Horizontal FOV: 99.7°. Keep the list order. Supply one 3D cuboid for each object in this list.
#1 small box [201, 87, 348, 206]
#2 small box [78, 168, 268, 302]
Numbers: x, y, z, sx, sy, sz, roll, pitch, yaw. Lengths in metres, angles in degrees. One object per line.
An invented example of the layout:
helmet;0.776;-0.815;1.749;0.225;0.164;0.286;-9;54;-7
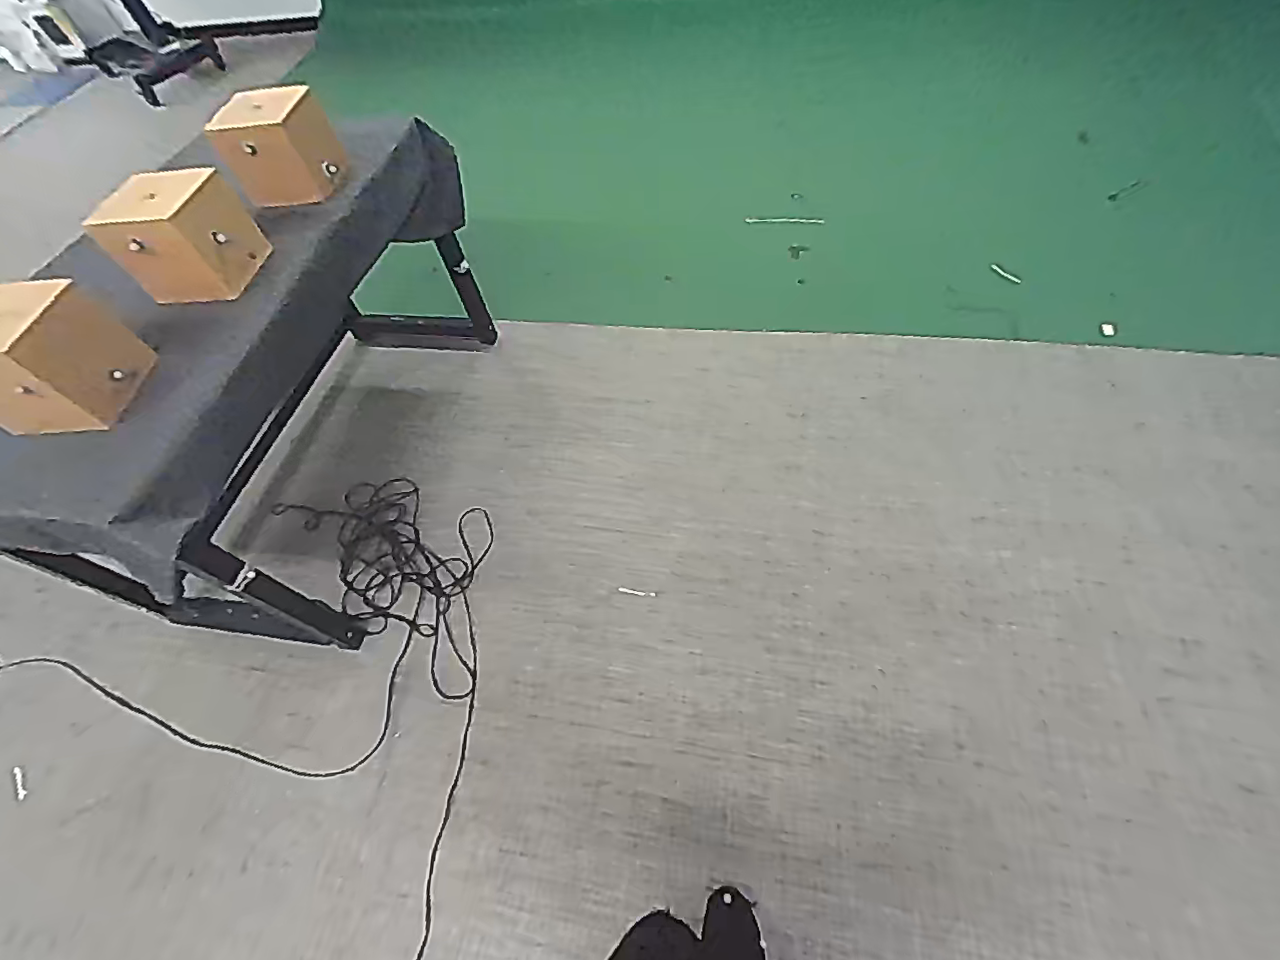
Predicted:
small box;-0.787;-0.723;1.185;0.179;0.176;0.168;-1;58;6
small box;-0.856;-0.453;1.016;0.179;0.176;0.168;0;57;7
